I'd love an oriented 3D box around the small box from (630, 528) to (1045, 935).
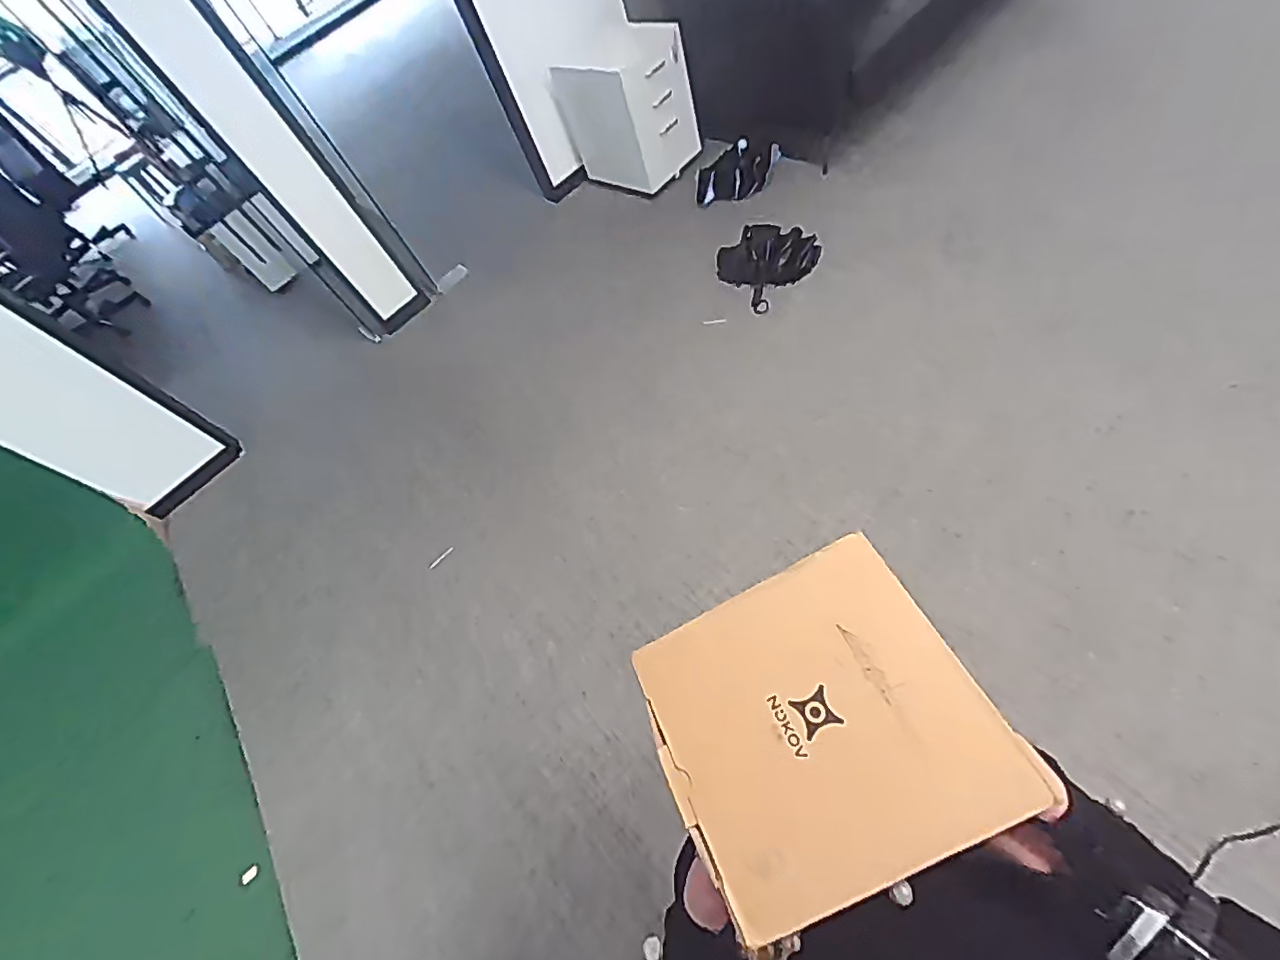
[{"bbox_3d":[0.123,0.168,0.378,0.179,0.176,0.168,-30,57,4],"label":"small box"}]
